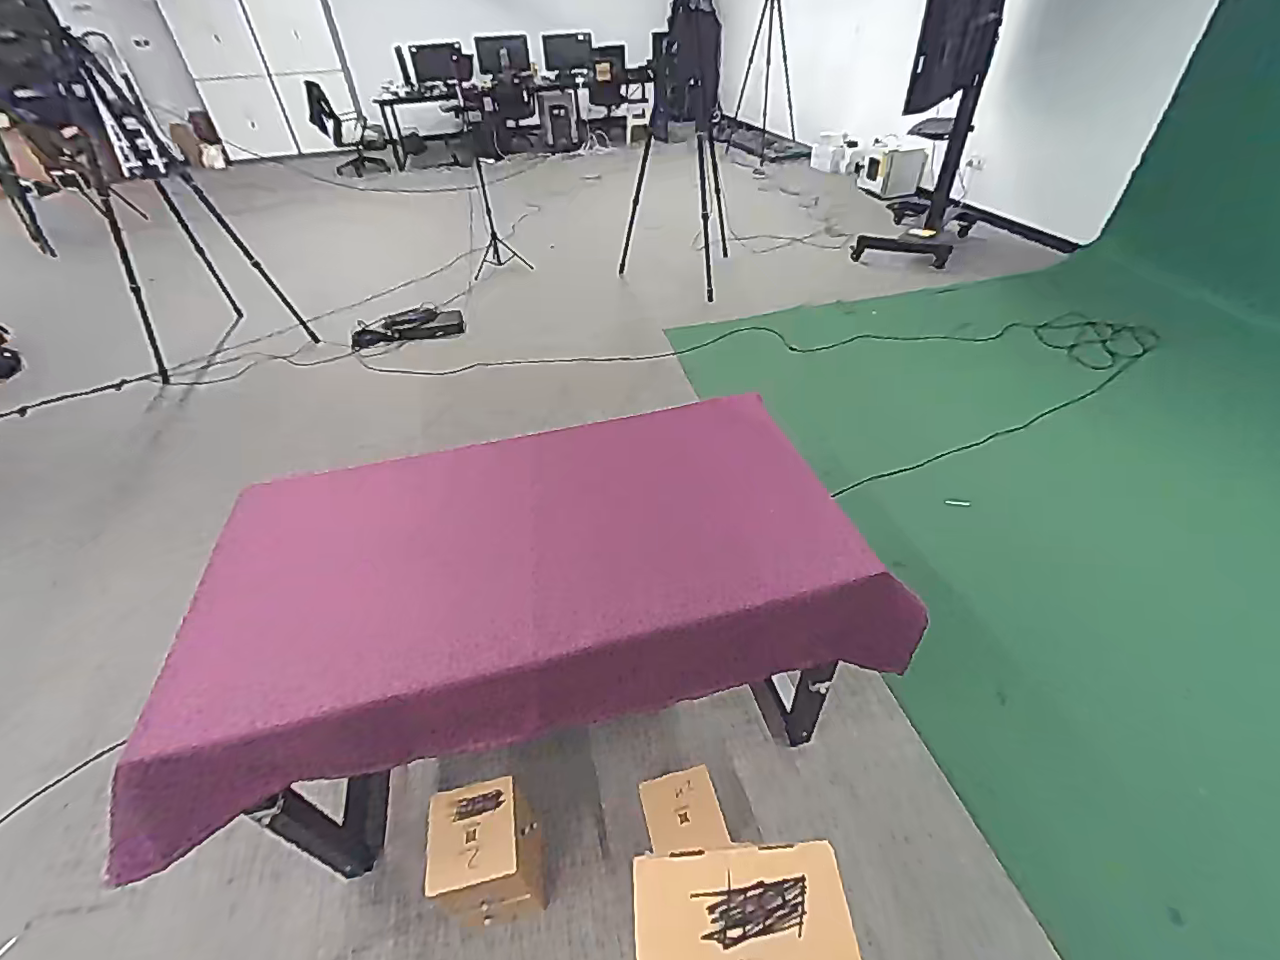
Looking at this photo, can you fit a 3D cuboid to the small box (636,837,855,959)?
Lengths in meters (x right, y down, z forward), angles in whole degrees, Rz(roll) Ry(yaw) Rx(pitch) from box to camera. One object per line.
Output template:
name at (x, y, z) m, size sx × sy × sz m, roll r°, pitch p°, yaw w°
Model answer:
small box at (0.087, 0.424, 0.454) m, size 0.168 × 0.176 × 0.179 m, roll -7°, pitch 46°, yaw 3°
